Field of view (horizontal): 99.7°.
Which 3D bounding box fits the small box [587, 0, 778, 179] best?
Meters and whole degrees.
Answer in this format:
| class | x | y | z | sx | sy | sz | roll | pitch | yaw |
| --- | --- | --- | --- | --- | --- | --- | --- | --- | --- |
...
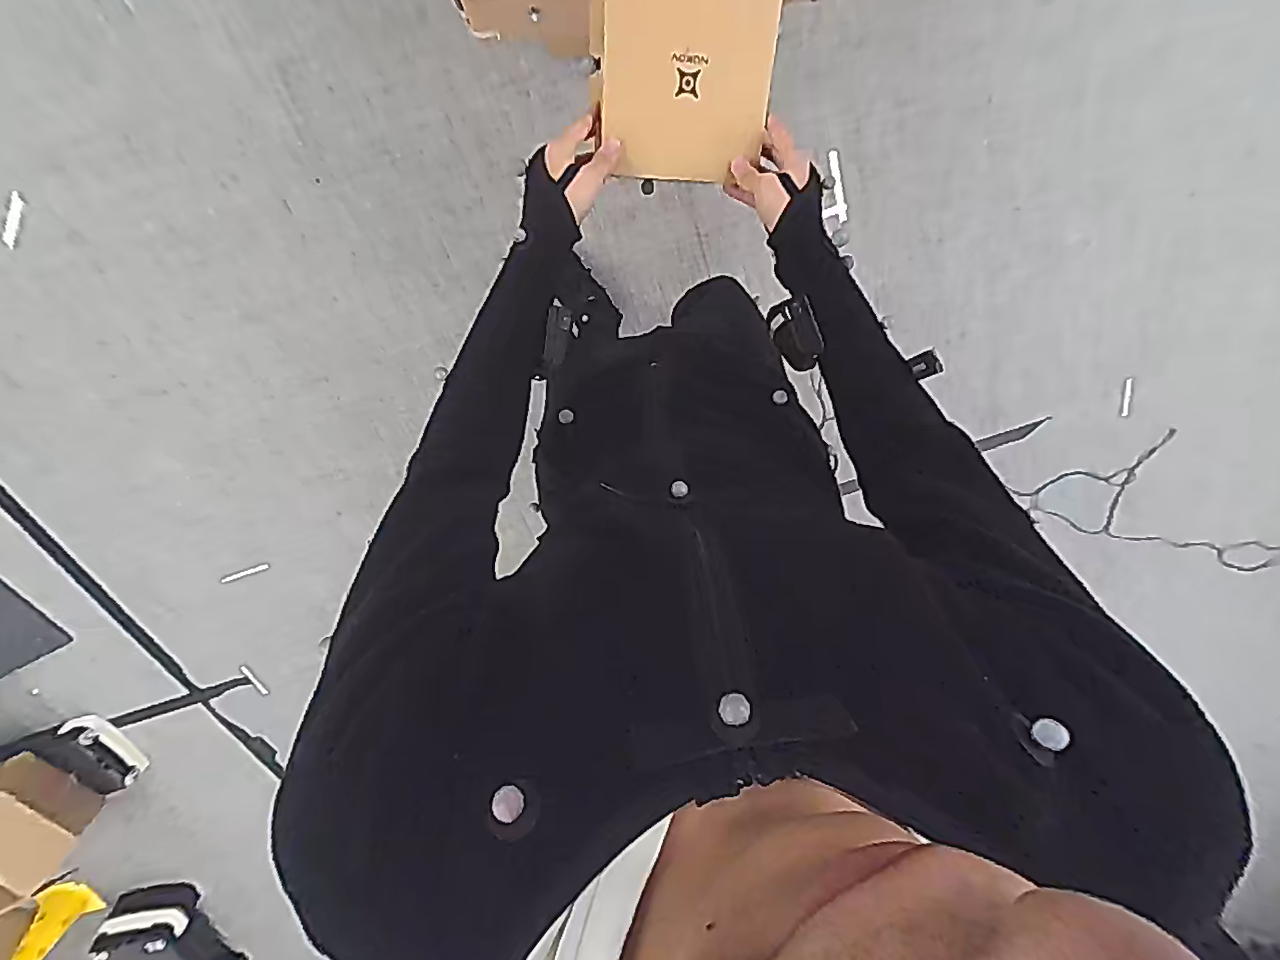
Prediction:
| class | x | y | z | sx | sy | sz | roll | pitch | yaw |
| --- | --- | --- | --- | --- | --- | --- | --- | --- | --- |
| small box | 0.032 | -0.426 | 0.578 | 0.168 | 0.176 | 0.179 | -1 | 118 | -8 |
